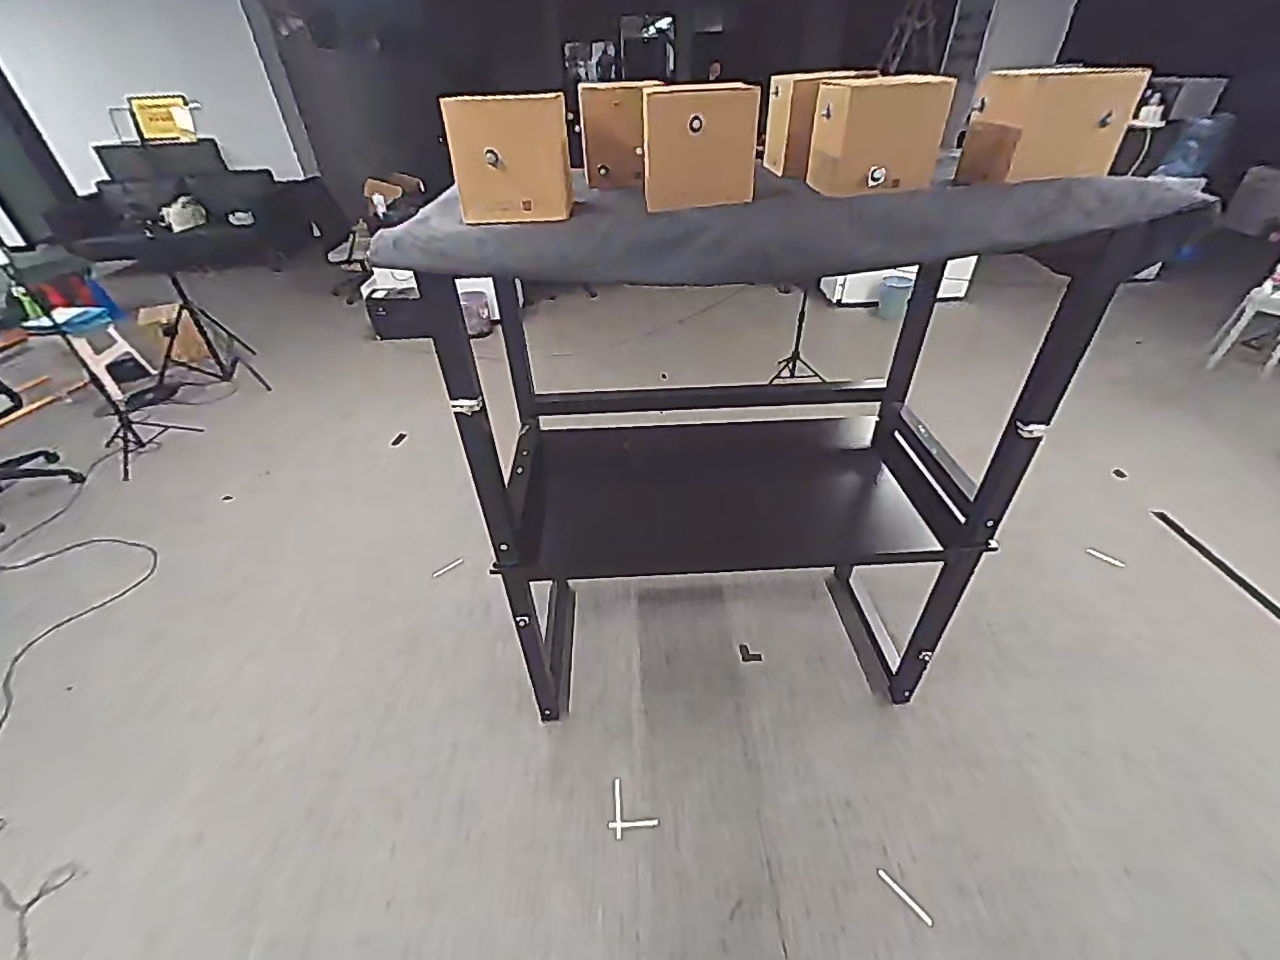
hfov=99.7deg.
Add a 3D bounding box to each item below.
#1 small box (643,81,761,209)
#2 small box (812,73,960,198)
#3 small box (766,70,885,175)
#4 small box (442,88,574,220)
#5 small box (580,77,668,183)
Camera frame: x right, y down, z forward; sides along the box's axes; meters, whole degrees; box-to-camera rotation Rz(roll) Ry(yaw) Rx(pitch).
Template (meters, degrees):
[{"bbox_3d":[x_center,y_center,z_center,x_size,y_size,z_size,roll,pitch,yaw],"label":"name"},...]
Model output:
[{"bbox_3d":[0.097,-0.564,0.910,0.179,0.176,0.168,-2,38,0],"label":"small box"},{"bbox_3d":[0.408,-0.596,0.937,0.168,0.176,0.179,-3,37,1],"label":"small box"},{"bbox_3d":[0.374,-0.743,1.125,0.179,0.176,0.168,-3,37,-2],"label":"small box"},{"bbox_3d":[-0.201,-0.527,0.878,0.168,0.176,0.179,-3,36,-1],"label":"small box"},{"bbox_3d":[-0.032,-0.715,1.110,0.168,0.176,0.179,-5,38,-4],"label":"small box"}]
